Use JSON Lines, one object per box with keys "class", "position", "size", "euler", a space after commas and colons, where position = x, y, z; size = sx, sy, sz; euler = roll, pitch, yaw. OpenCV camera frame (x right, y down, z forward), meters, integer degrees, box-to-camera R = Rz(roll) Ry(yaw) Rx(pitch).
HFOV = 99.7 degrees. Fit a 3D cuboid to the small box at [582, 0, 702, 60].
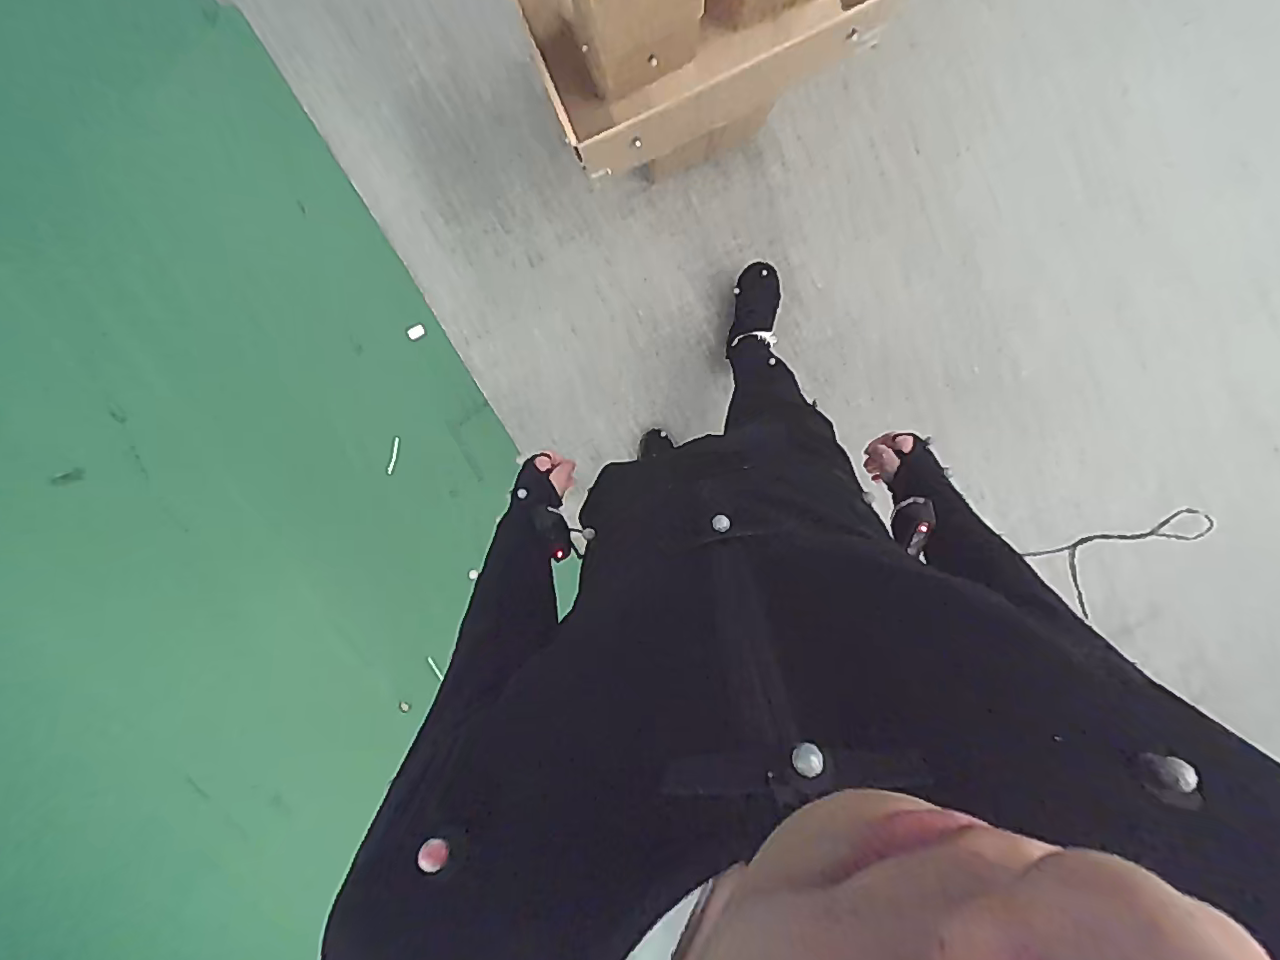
{"class": "small box", "position": [-0.012, -0.761, 0.778], "size": [0.179, 0.176, 0.168], "euler": [-22, 101, 7]}
